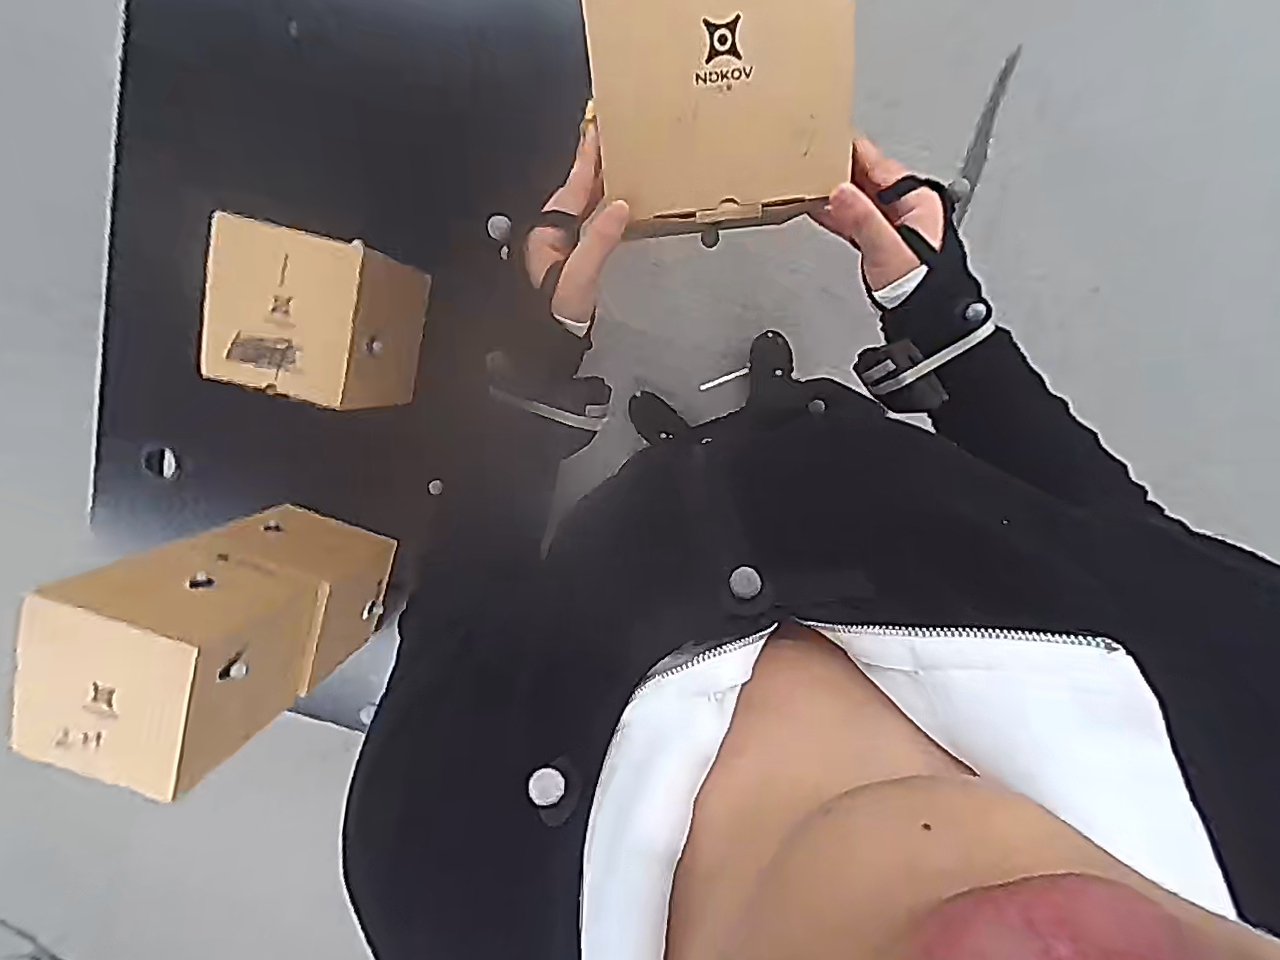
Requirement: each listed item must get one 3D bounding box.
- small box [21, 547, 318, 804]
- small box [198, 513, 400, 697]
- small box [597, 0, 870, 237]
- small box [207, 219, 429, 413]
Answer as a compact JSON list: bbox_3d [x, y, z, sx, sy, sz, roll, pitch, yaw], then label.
[{"bbox_3d":[-0.482,0.191,0.579,0.168,0.176,0.179,18,102,1],"label":"small box"},{"bbox_3d":[-0.464,0.157,0.740,0.179,0.176,0.168,18,102,-1],"label":"small box"},{"bbox_3d":[0.060,-0.286,0.412,0.168,0.176,0.179,-5,112,1],"label":"small box"},{"bbox_3d":[-0.382,-0.191,0.666,0.168,0.176,0.179,14,101,1],"label":"small box"}]
